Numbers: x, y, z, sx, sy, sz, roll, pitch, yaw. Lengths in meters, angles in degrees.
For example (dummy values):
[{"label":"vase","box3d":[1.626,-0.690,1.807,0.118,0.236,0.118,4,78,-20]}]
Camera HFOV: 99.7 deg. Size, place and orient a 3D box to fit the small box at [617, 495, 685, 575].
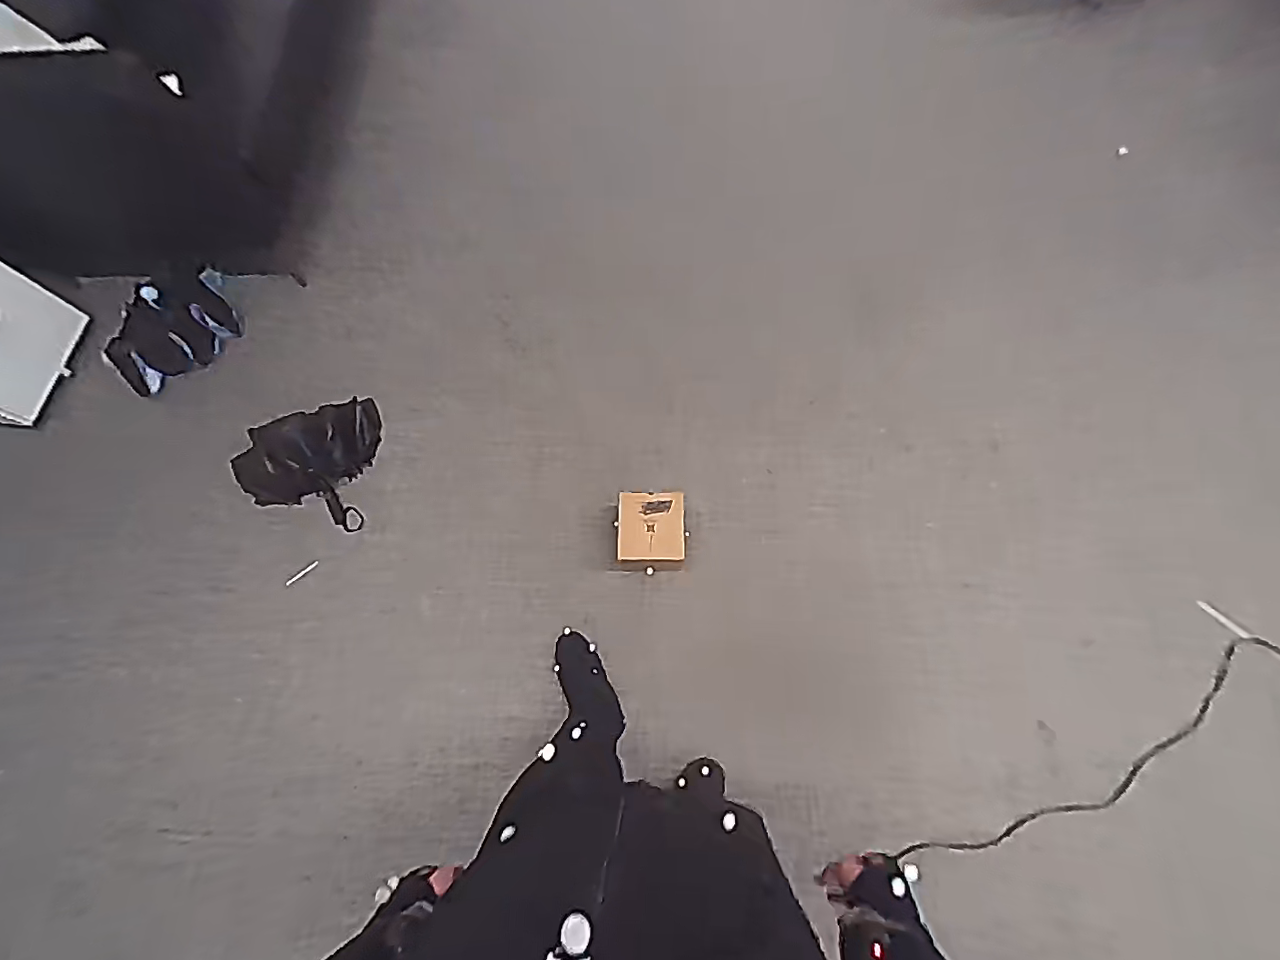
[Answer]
[{"label":"small box","box3d":[0.031,0.145,1.393,0.168,0.176,0.179,-1,73,3]}]
